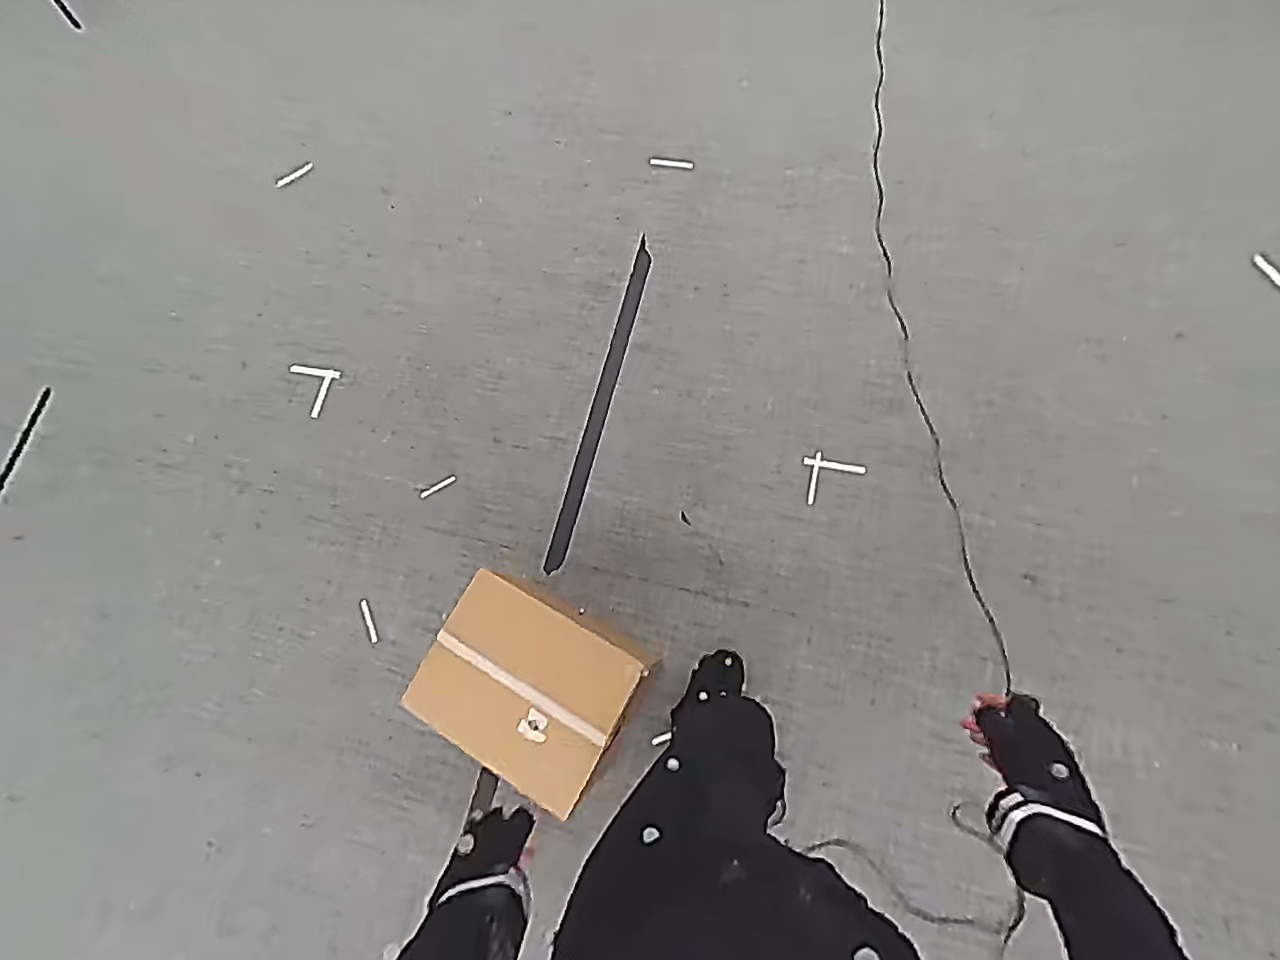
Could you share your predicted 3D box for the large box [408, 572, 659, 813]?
[{"bbox_3d":[-0.210,0.444,1.211,0.408,0.320,0.320,27,80,13],"label":"large box"}]
